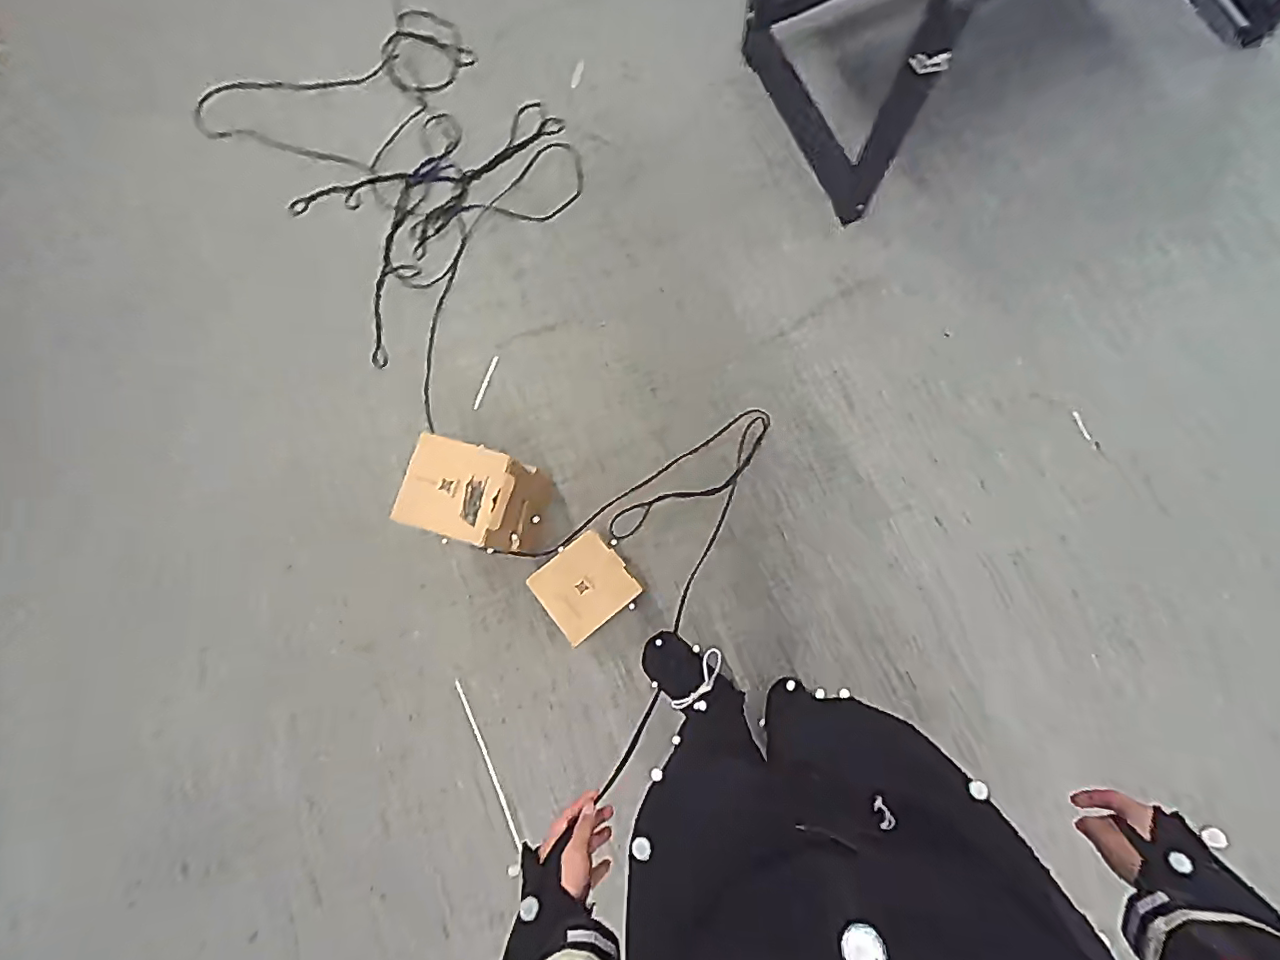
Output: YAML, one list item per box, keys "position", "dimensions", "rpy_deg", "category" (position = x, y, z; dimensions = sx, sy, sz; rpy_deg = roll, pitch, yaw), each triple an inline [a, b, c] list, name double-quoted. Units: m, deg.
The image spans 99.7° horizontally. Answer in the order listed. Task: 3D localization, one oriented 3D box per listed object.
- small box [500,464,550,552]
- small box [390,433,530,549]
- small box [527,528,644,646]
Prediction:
- position: [-0.304, 0.057, 1.179]
  dimensions: [0.168, 0.176, 0.179]
  rpy_deg: [10, 81, 5]
  category: "small box"
- position: [-0.324, 0.029, 1.017]
  dimensions: [0.179, 0.176, 0.168]
  rpy_deg: [15, 80, 6]
  category: "small box"
- position: [-0.107, 0.222, 1.143]
  dimensions: [0.179, 0.176, 0.168]
  rpy_deg: [-40, 80, -4]
  category: "small box"
